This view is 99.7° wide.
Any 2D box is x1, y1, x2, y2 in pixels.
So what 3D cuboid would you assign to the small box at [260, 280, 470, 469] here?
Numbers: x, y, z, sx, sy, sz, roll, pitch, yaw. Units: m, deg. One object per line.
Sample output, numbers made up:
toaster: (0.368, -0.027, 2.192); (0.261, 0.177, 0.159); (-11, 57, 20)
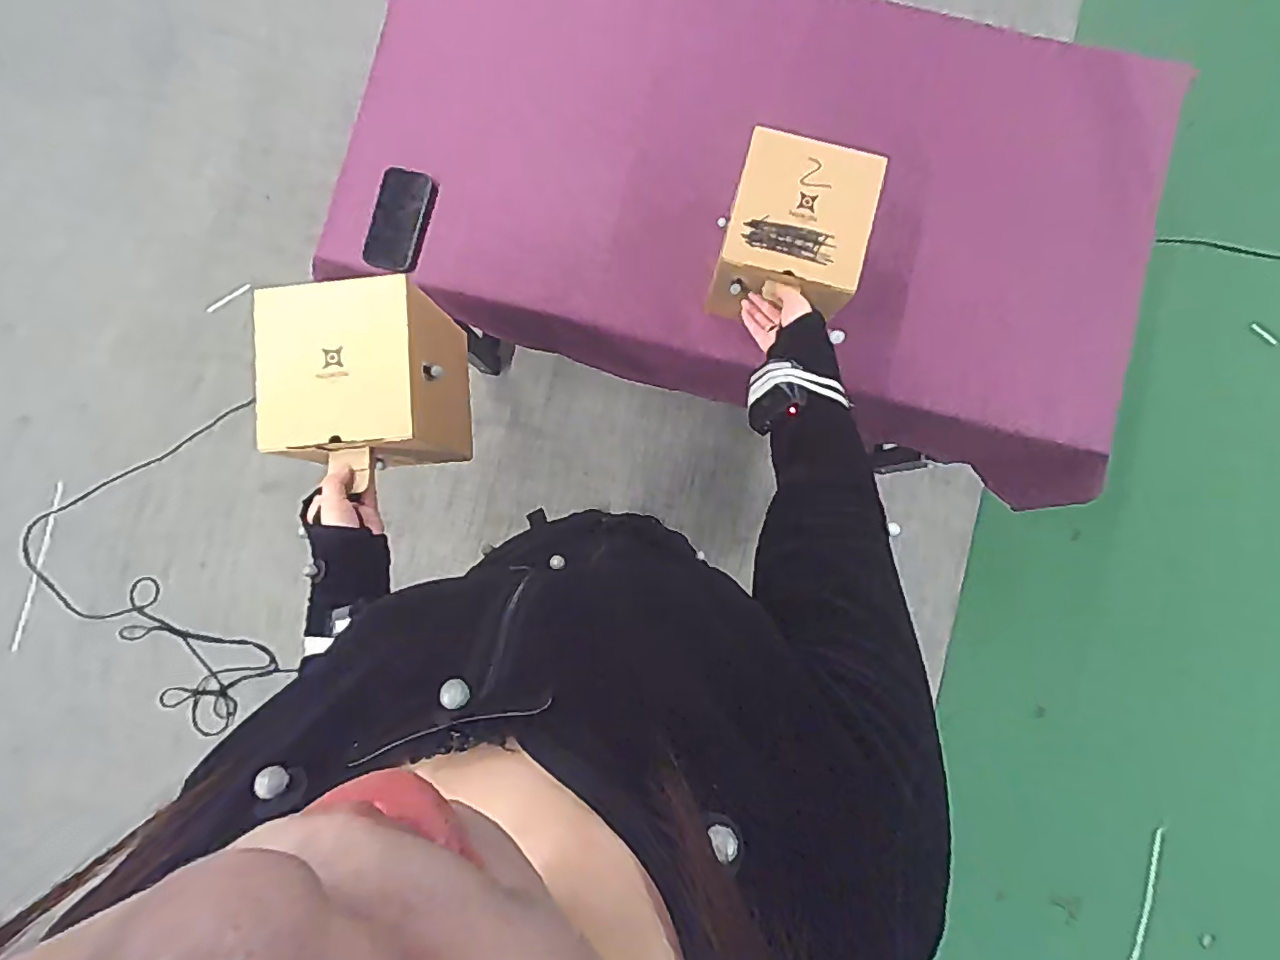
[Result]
small box: (-0.313, -0.114, 0.645); (0.168, 0.176, 0.179); (-5, 85, 3)
